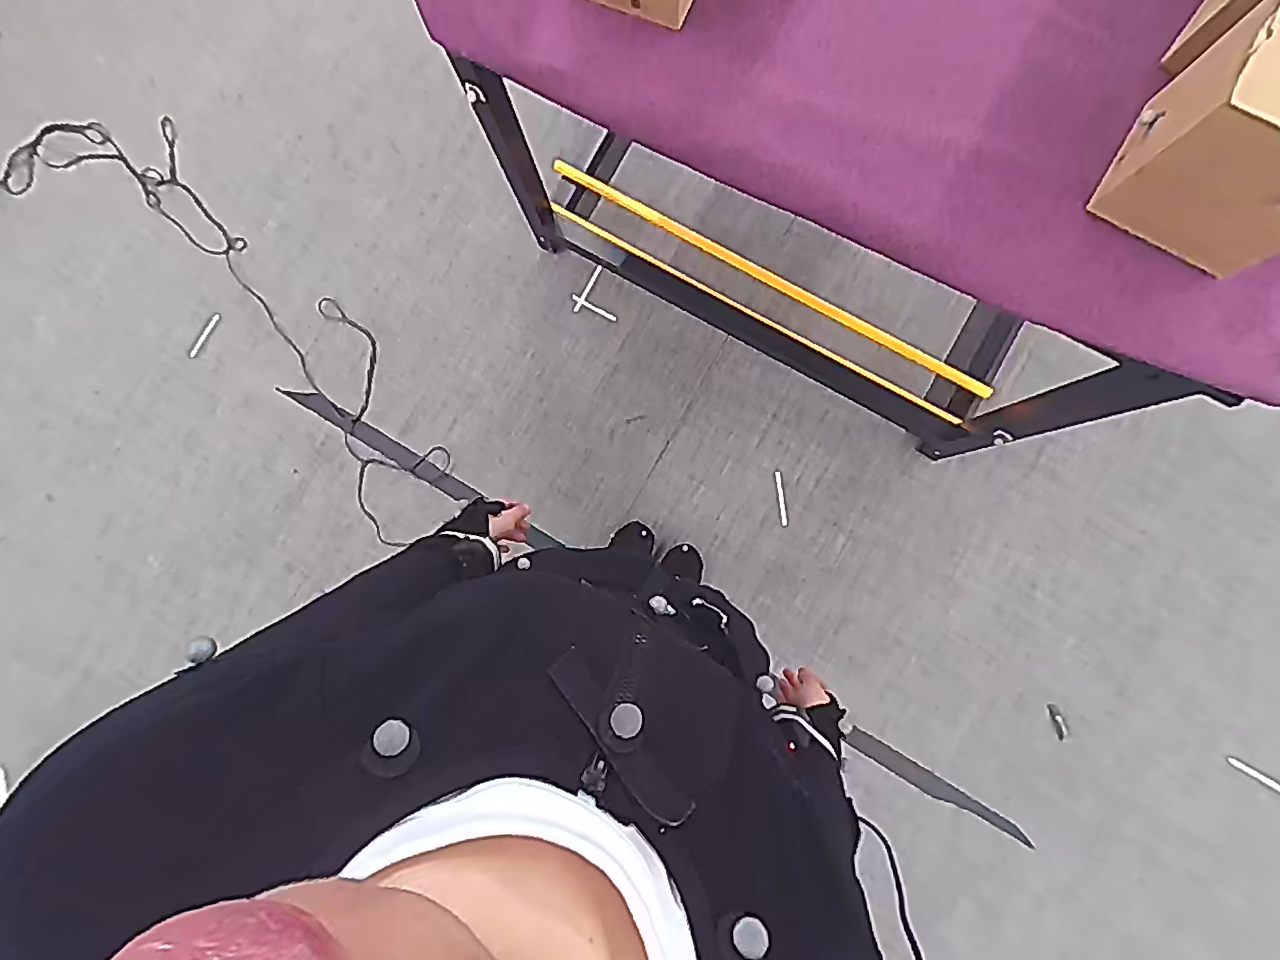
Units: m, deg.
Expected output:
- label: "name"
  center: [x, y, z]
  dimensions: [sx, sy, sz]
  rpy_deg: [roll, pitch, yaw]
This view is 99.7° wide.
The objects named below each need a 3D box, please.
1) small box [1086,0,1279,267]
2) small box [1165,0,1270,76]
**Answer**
- label: "small box"
  center: [0.652, -0.361, 0.579]
  dimensions: [0.179, 0.176, 0.168]
  rpy_deg: [32, 86, 5]
- label: "small box"
  center: [0.753, -0.534, 0.587]
  dimensions: [0.179, 0.176, 0.168]
  rpy_deg: [36, 90, 4]
